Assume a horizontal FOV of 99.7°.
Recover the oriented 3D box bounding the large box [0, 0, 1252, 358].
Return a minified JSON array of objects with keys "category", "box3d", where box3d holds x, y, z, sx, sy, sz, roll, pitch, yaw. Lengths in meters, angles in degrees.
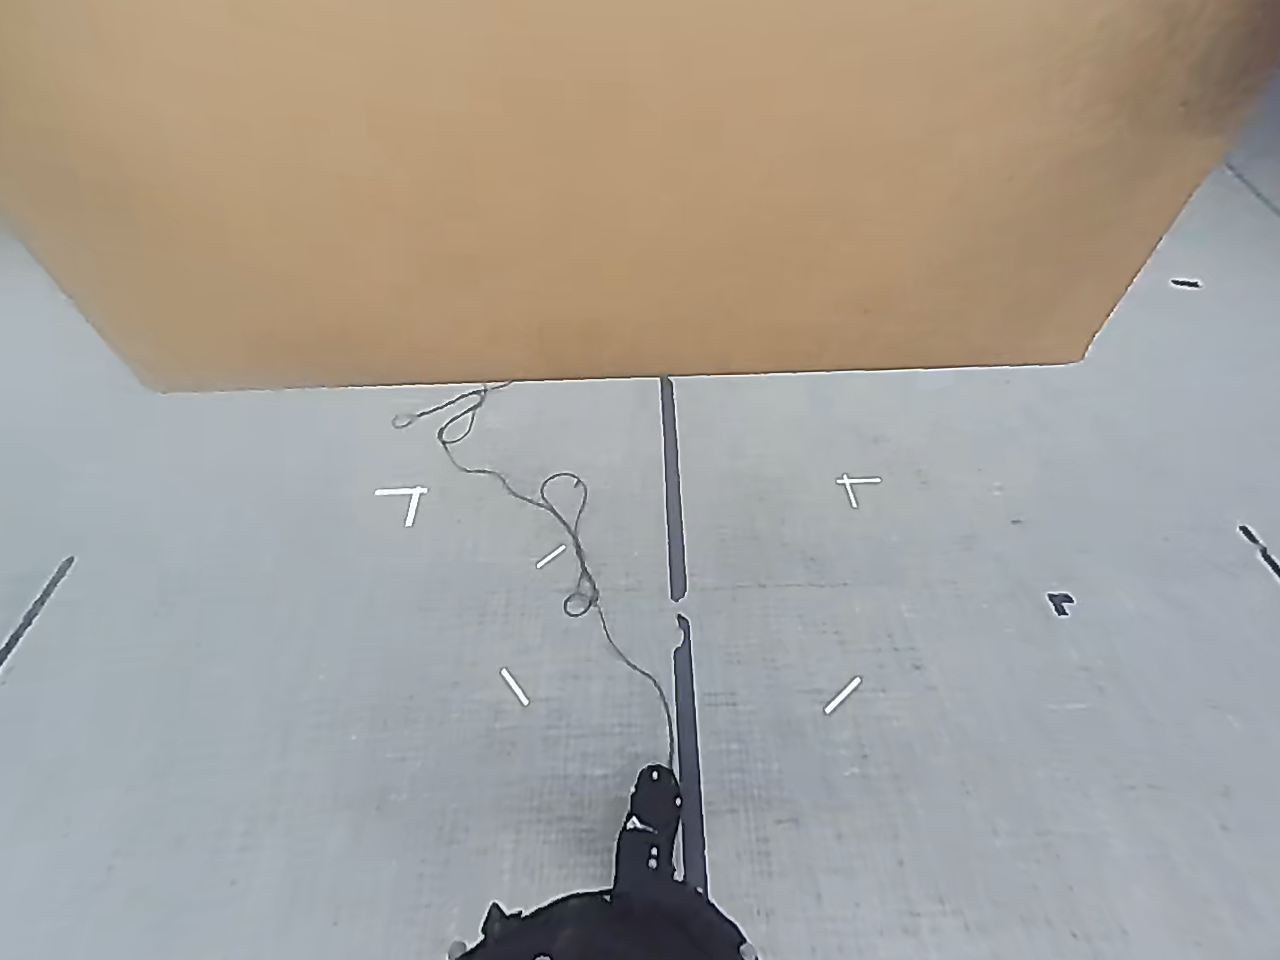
[{"category":"large box","box3d":[-0.015,-0.269,0.238,0.408,0.320,0.320,-1,47,-1]}]
